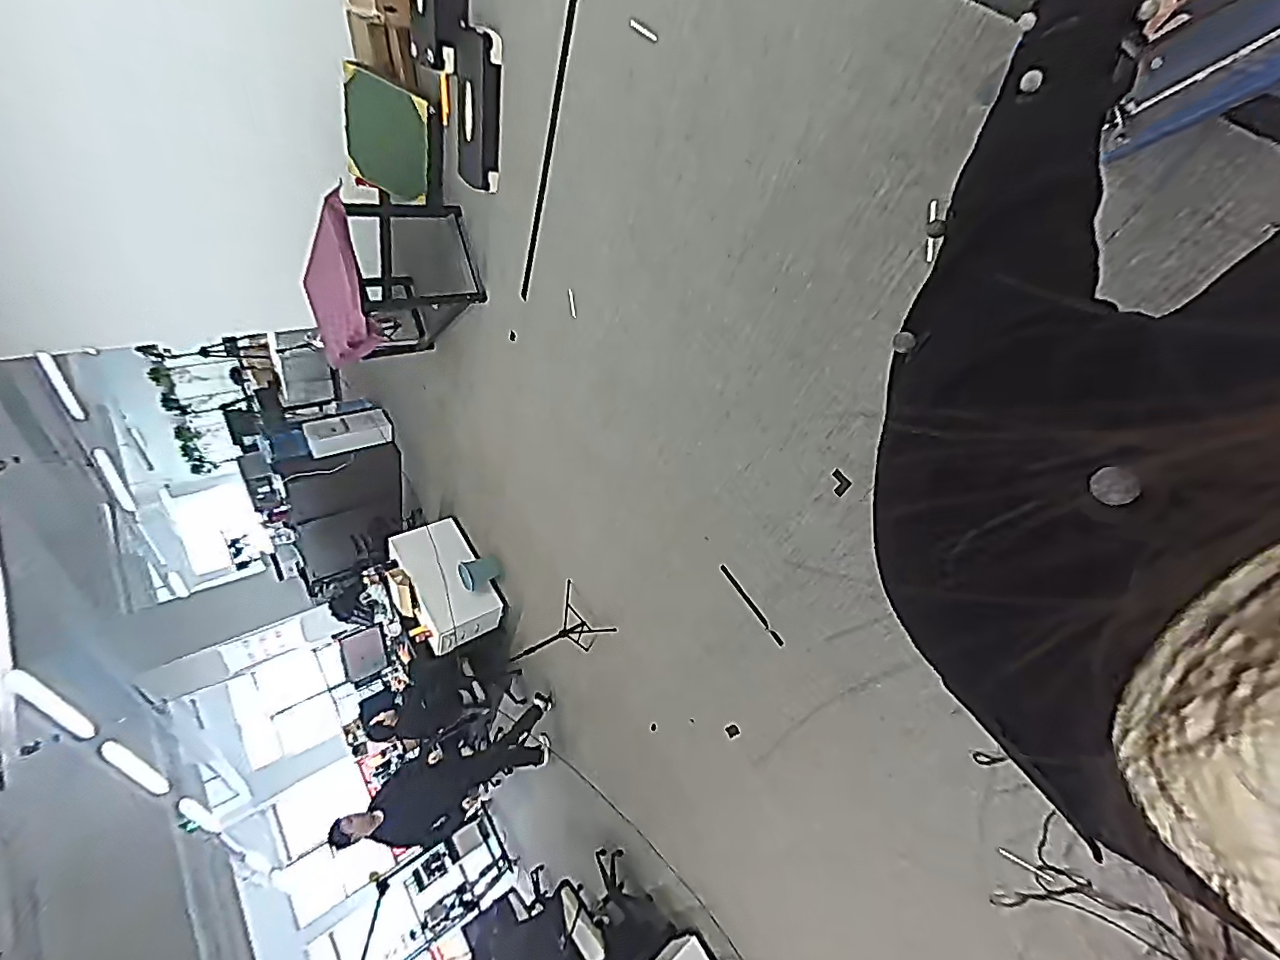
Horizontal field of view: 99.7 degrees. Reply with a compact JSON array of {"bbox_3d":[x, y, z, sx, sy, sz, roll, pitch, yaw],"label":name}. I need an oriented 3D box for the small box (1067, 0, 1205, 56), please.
[{"bbox_3d":[0.749,-0.774,0.800,0.168,0.176,0.179,-21,90,53],"label":"small box"}]
